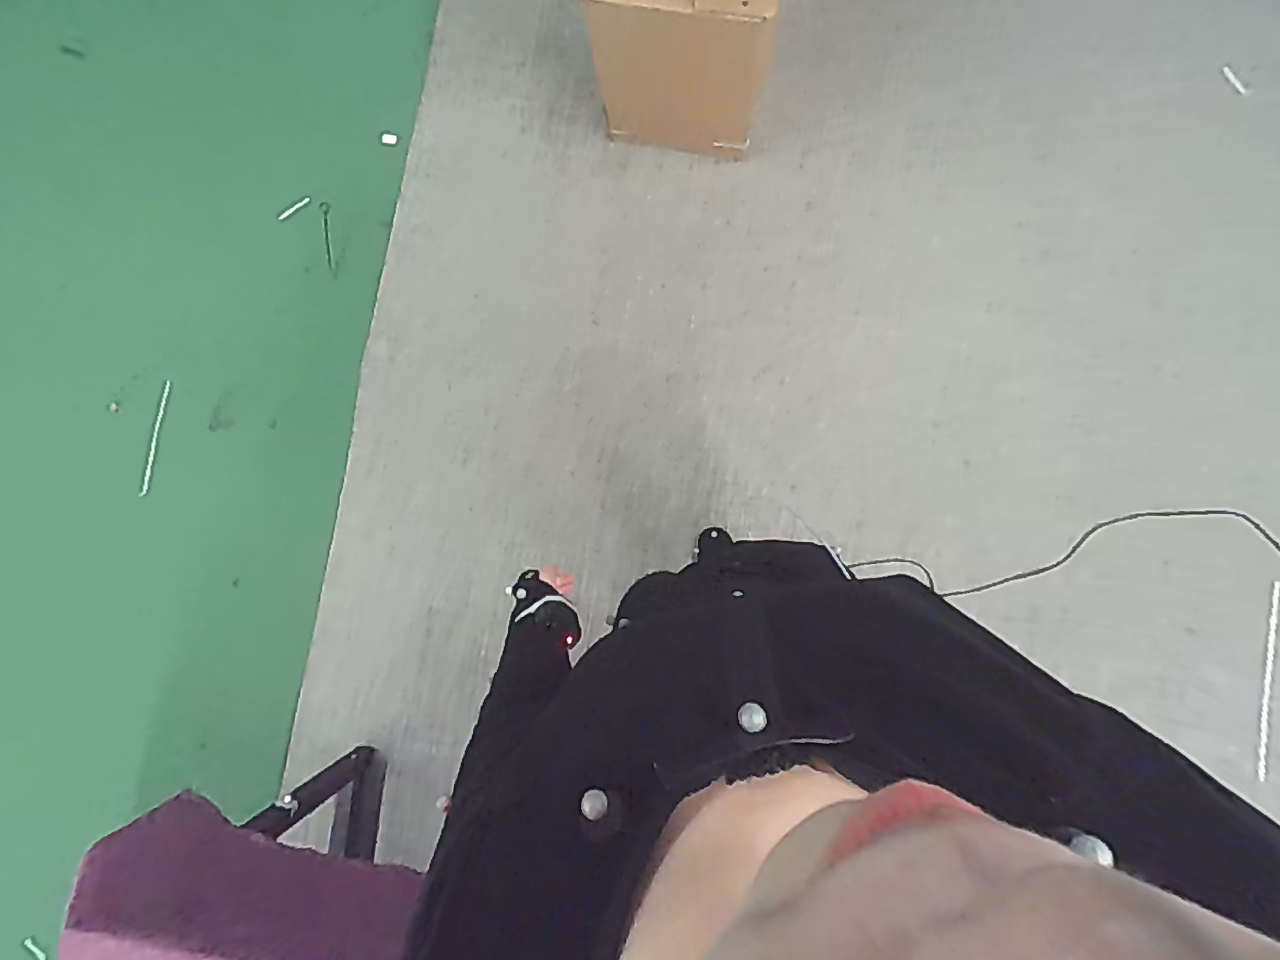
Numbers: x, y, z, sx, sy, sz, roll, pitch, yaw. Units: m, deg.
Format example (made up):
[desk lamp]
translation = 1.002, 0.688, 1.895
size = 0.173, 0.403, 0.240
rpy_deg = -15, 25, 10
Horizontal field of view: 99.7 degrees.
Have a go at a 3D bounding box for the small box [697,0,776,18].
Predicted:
[small box]
translation = 0.201, -1.051, 1.048
size = 0.168, 0.176, 0.179
rpy_deg = 11, 87, 7
